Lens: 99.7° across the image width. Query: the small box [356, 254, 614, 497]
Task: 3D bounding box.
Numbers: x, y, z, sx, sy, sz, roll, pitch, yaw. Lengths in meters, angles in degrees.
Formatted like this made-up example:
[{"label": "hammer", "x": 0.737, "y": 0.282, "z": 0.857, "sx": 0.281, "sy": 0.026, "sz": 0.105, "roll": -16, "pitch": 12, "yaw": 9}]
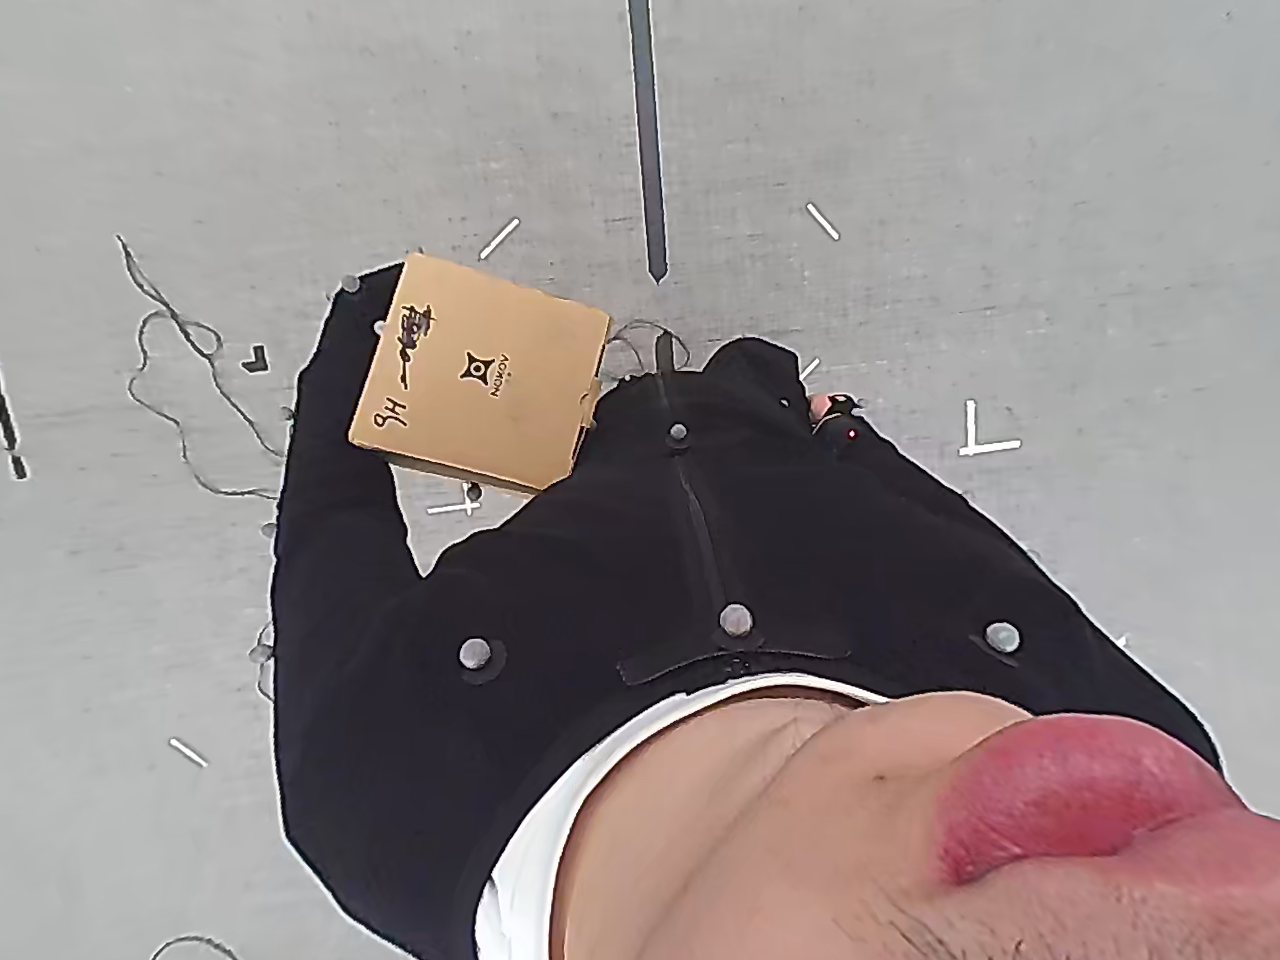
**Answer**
[{"label": "small box", "x": -0.140, "y": -0.082, "z": 0.529, "sx": 0.179, "sy": 0.176, "sz": 0.168, "roll": 15, "pitch": 81, "yaw": -10}]
